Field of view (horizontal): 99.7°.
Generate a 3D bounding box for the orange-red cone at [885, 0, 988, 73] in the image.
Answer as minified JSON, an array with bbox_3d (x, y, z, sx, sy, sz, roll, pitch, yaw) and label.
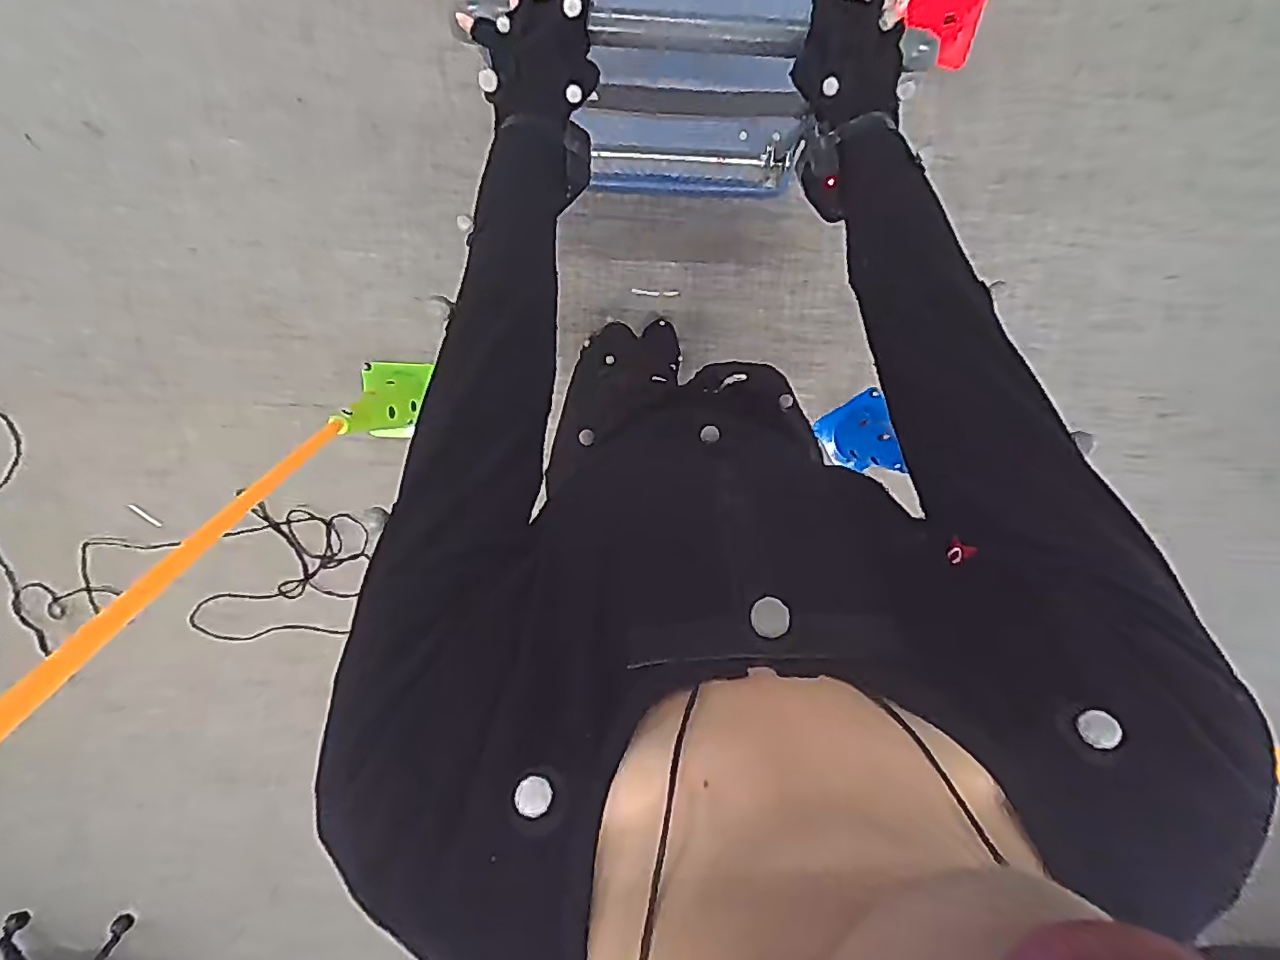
[{"bbox_3d":[0.678,-1.008,1.062,0.198,0.360,0.199,14,106,-5],"label":"orange-red cone"}]
